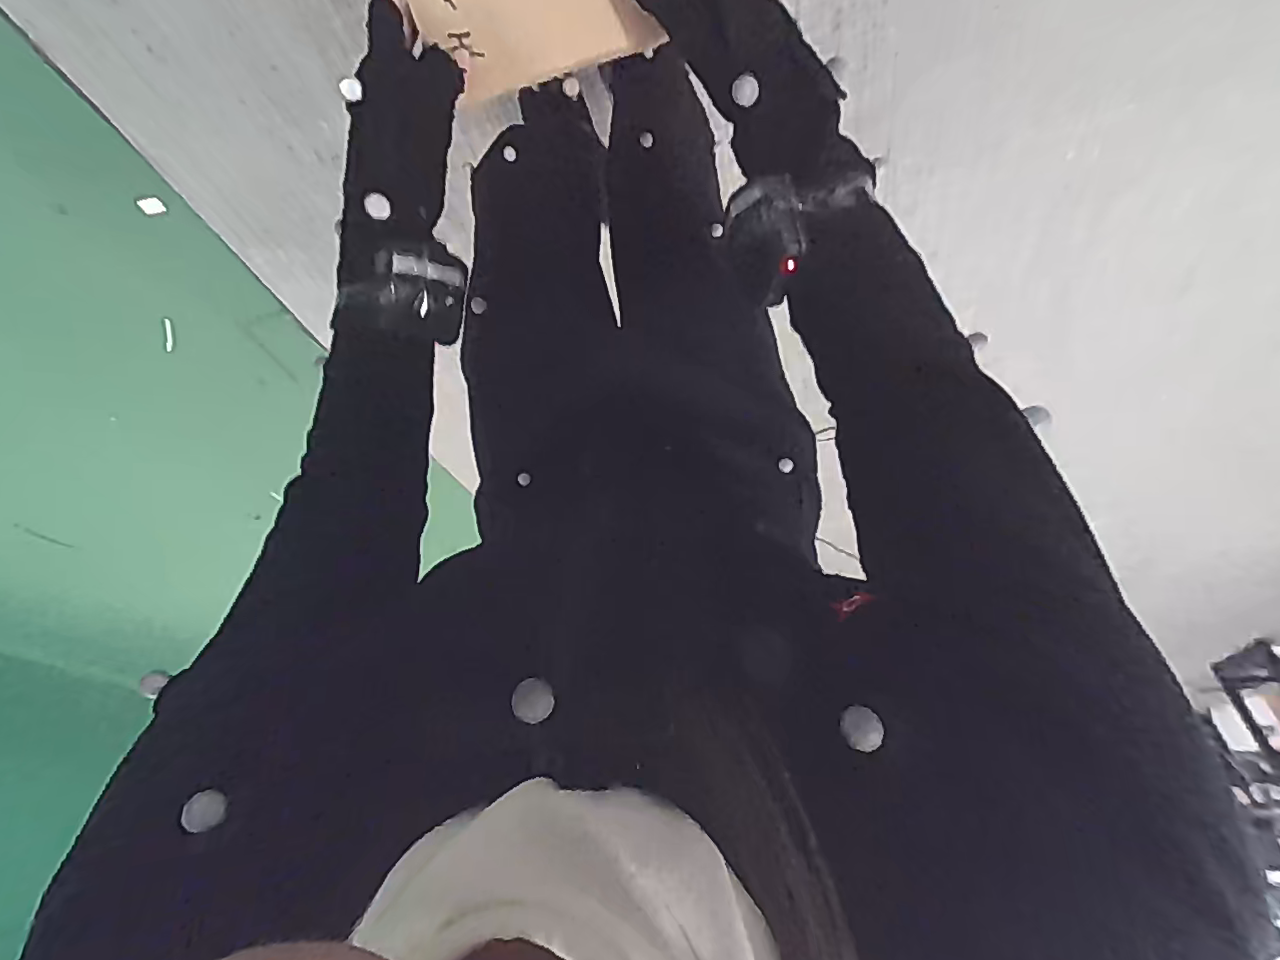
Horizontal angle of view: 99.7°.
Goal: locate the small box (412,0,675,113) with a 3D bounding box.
[{"bbox_3d":[-0.084,-0.414,0.418,0.179,0.176,0.168,-15,127,9],"label":"small box"}]
